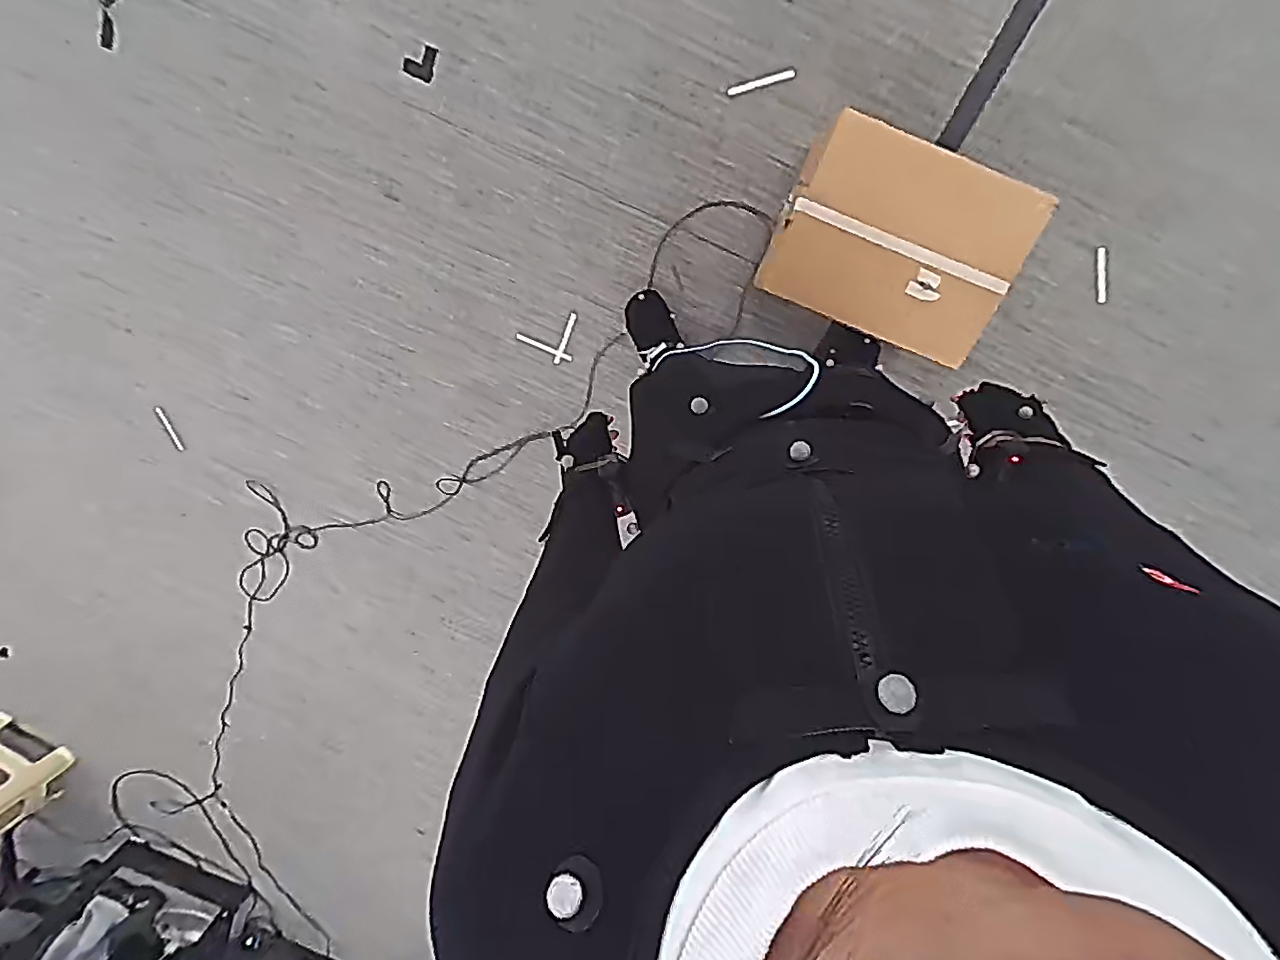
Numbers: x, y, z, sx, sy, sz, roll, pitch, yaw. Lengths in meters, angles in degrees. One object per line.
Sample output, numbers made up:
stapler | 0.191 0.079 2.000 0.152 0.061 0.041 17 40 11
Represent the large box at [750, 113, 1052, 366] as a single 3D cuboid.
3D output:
large box | 0.478 -0.469 1.103 0.408 0.320 0.320 22 112 -2
